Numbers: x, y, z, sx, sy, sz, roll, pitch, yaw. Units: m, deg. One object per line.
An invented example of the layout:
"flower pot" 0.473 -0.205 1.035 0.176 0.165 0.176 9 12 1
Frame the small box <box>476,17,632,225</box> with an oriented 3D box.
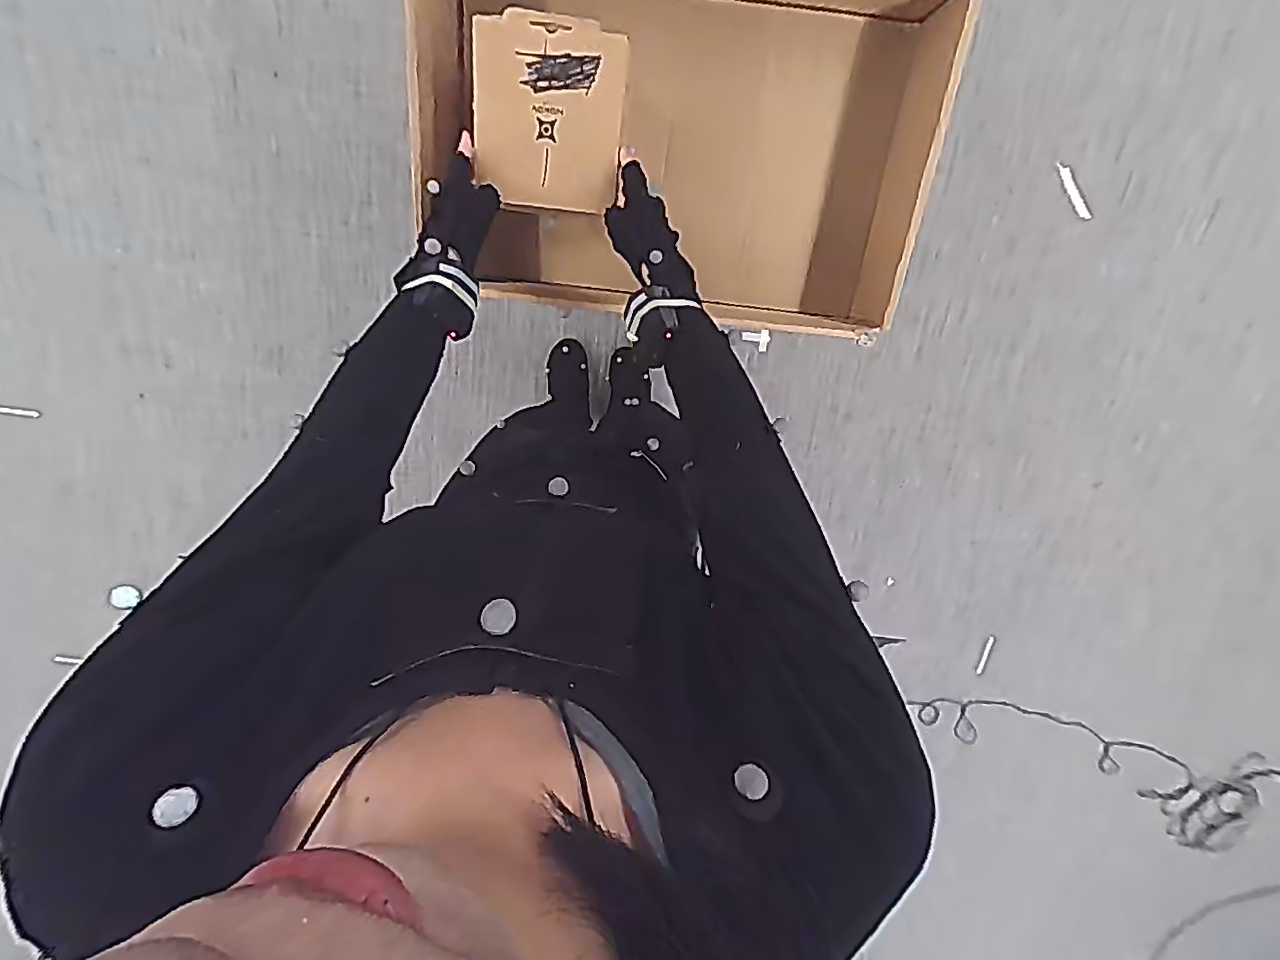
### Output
"small box" -0.100 -0.427 0.674 0.168 0.176 0.179 6 113 -2
